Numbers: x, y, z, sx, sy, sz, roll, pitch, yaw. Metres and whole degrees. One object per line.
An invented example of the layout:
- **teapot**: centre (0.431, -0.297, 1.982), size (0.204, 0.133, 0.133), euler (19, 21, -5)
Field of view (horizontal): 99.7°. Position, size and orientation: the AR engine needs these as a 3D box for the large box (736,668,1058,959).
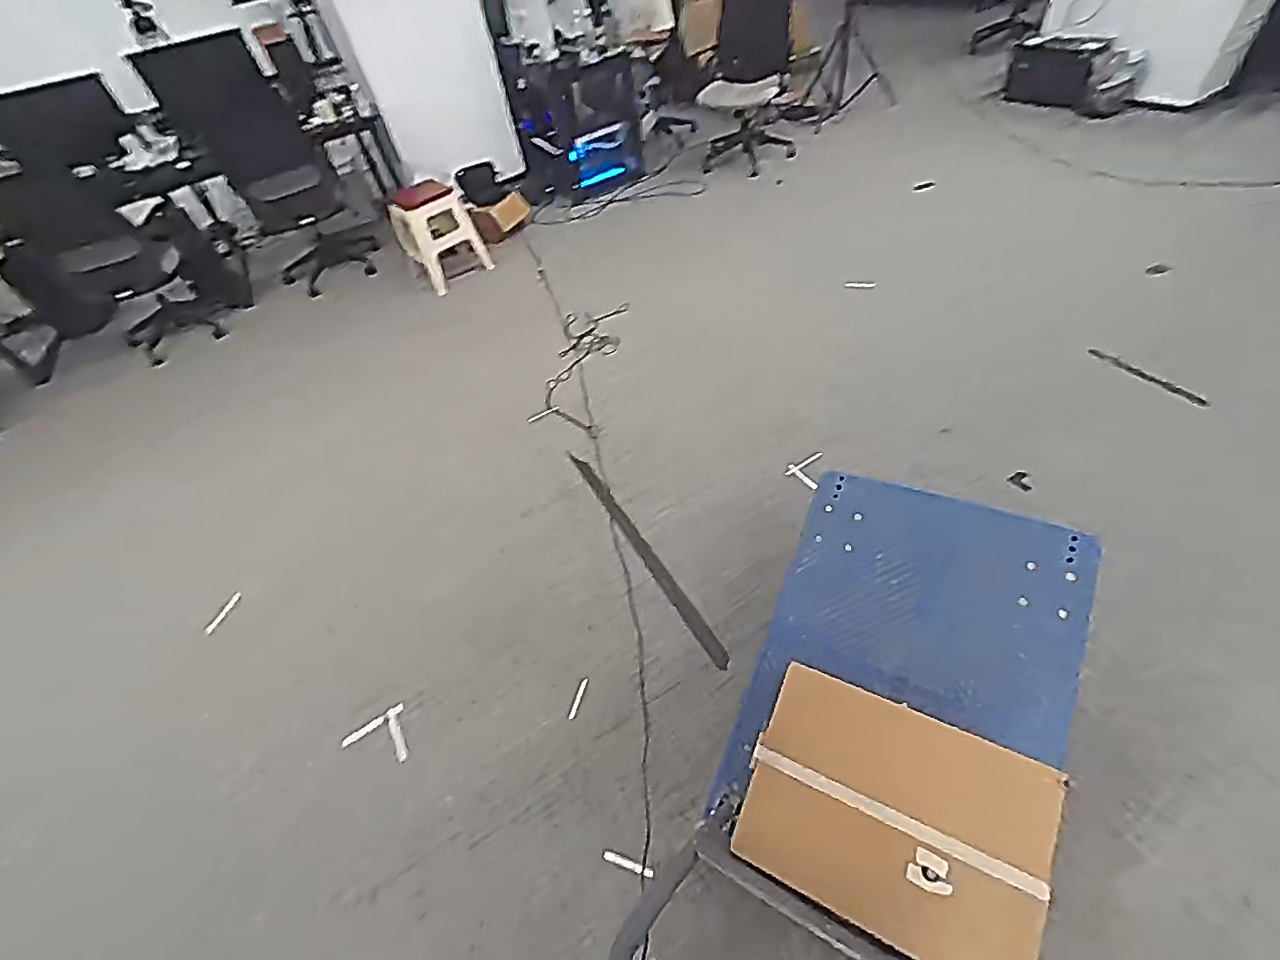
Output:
- **large box**: centre (0.422, 0.567, 0.957), size (0.408, 0.320, 0.320), euler (17, 74, 24)
